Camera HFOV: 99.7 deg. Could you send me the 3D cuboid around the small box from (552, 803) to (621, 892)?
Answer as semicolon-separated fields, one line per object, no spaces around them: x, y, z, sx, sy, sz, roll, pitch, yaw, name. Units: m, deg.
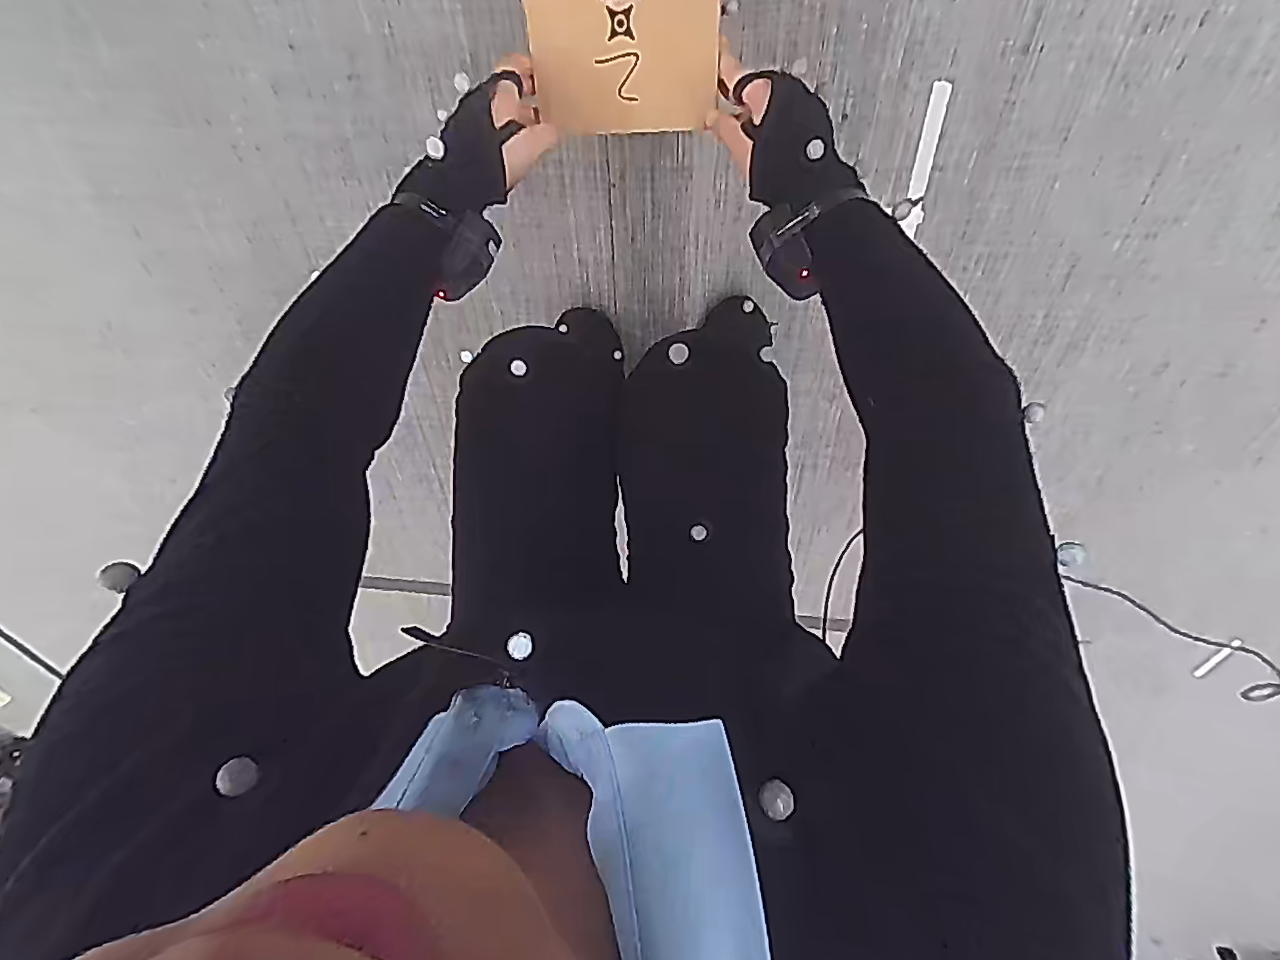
-0.152;1.088;1.604;0.168;0.176;0.179;2;130;6;small box
